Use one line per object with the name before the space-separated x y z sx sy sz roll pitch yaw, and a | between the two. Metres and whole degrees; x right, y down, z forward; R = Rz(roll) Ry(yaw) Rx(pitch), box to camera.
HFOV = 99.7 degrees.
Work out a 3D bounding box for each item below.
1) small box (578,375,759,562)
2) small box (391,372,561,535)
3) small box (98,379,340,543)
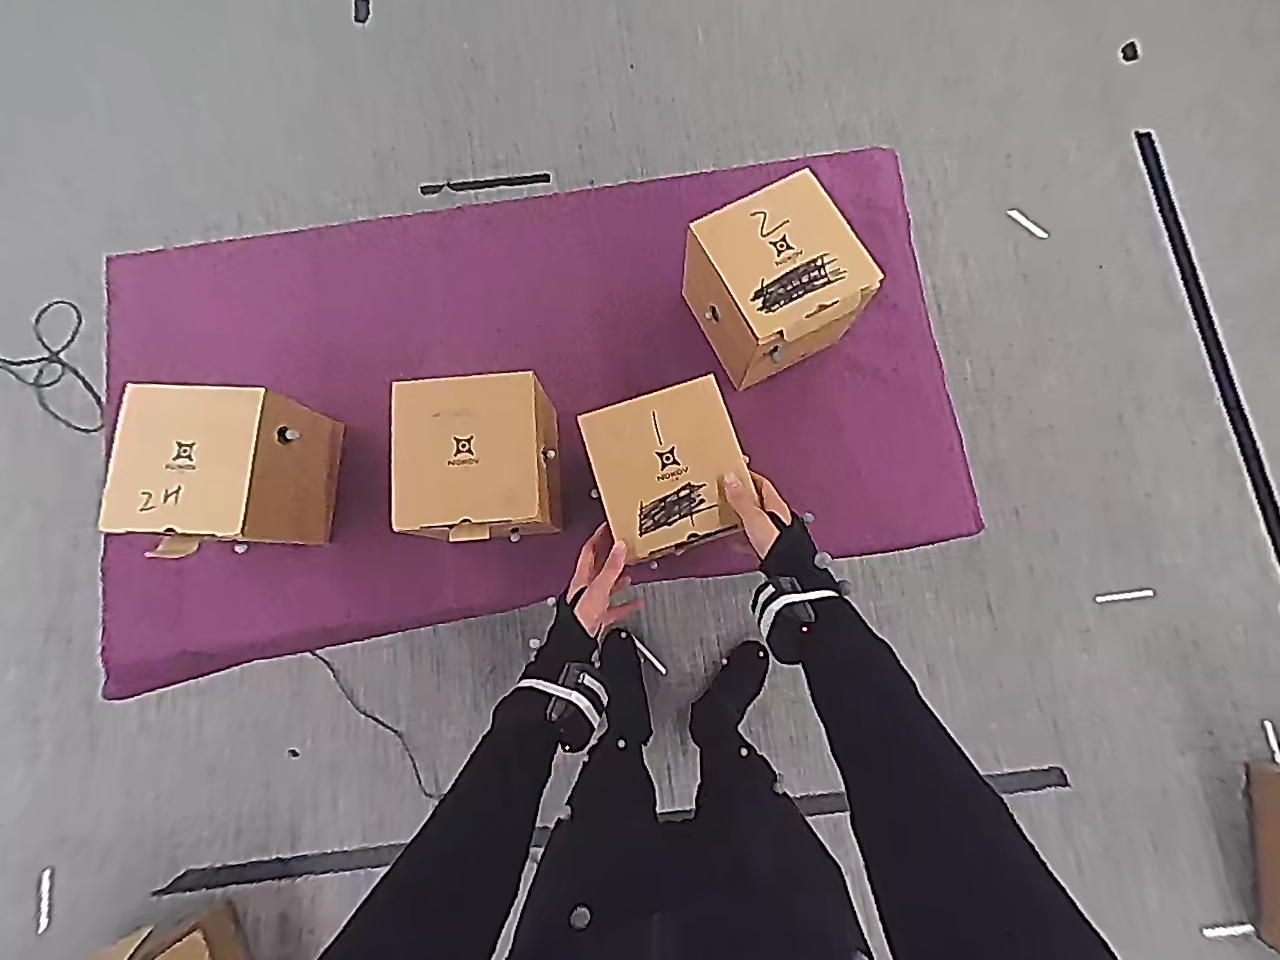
small box | 0.033 -0.003 0.677 0.168 0.176 0.179 -17 79 -2
small box | -0.196 -0.022 0.687 0.168 0.176 0.179 -4 80 0
small box | -0.513 -0.015 0.689 0.168 0.176 0.179 2 81 2
